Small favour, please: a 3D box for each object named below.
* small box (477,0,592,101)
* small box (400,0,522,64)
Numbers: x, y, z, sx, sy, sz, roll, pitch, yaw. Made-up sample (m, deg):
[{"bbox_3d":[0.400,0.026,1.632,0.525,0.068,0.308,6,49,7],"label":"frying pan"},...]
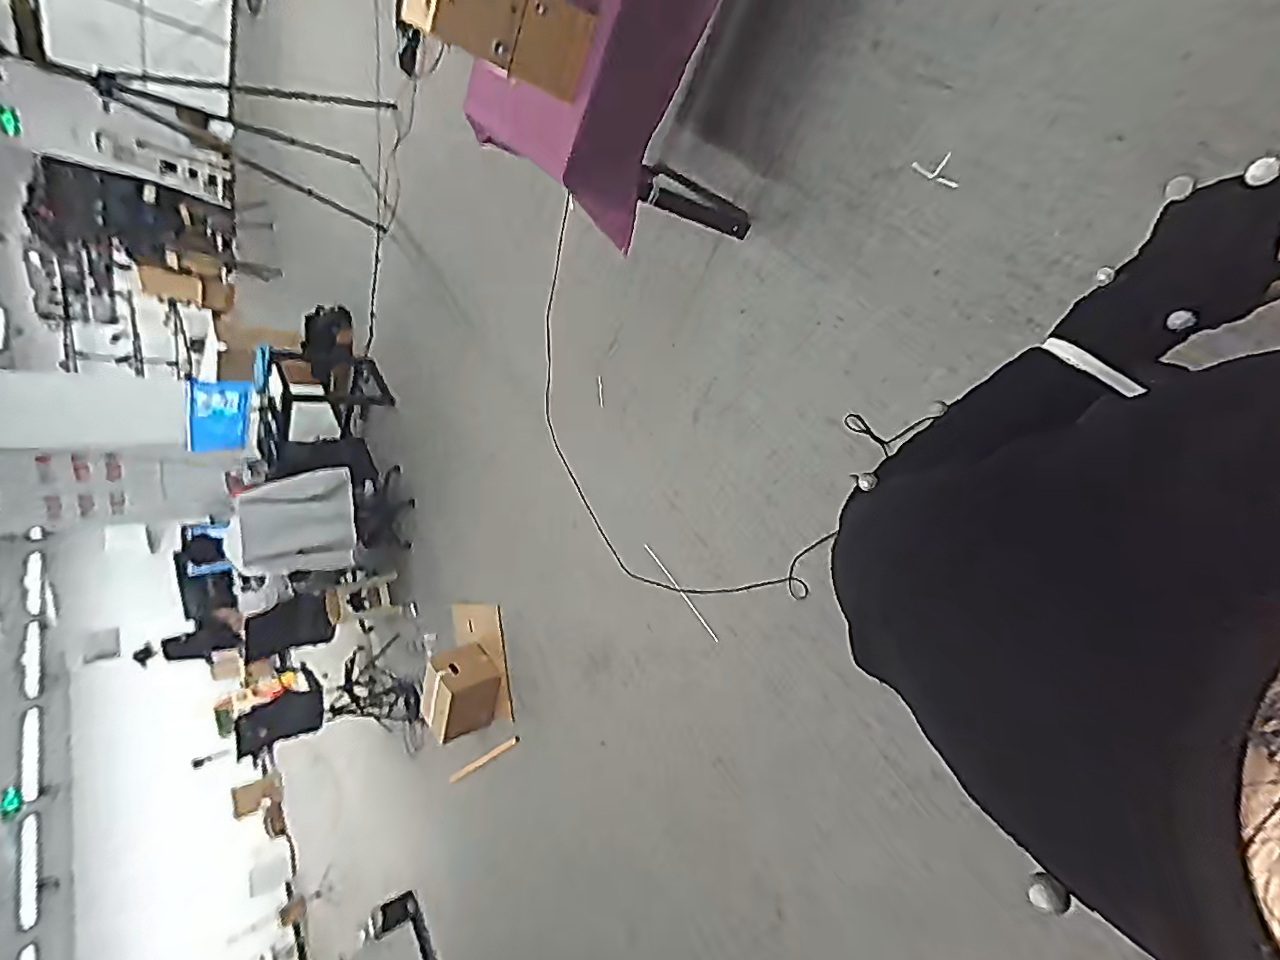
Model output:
[{"bbox_3d":[-0.231,-0.975,1.184,0.168,0.176,0.179,49,125,31],"label":"small box"},{"bbox_3d":[-0.349,-0.966,1.071,0.179,0.176,0.168,50,126,32],"label":"small box"}]
